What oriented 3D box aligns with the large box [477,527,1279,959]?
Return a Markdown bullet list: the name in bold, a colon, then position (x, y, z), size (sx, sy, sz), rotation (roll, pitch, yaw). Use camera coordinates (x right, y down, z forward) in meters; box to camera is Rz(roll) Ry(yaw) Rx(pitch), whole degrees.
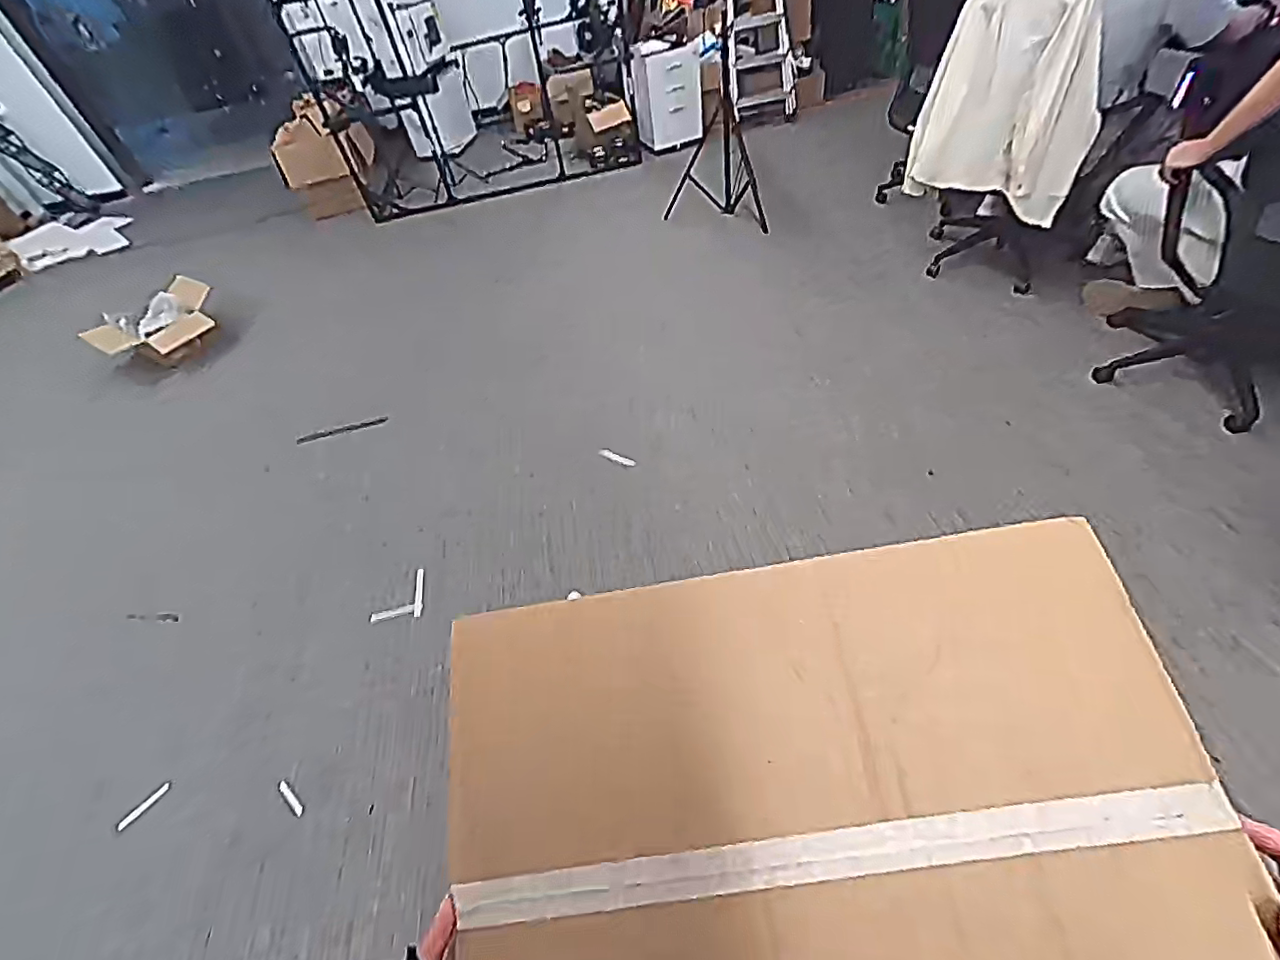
- **large box**: position (0.123, 0.262, 0.429), size (0.408, 0.320, 0.320), rotation (-10, 67, 4)
